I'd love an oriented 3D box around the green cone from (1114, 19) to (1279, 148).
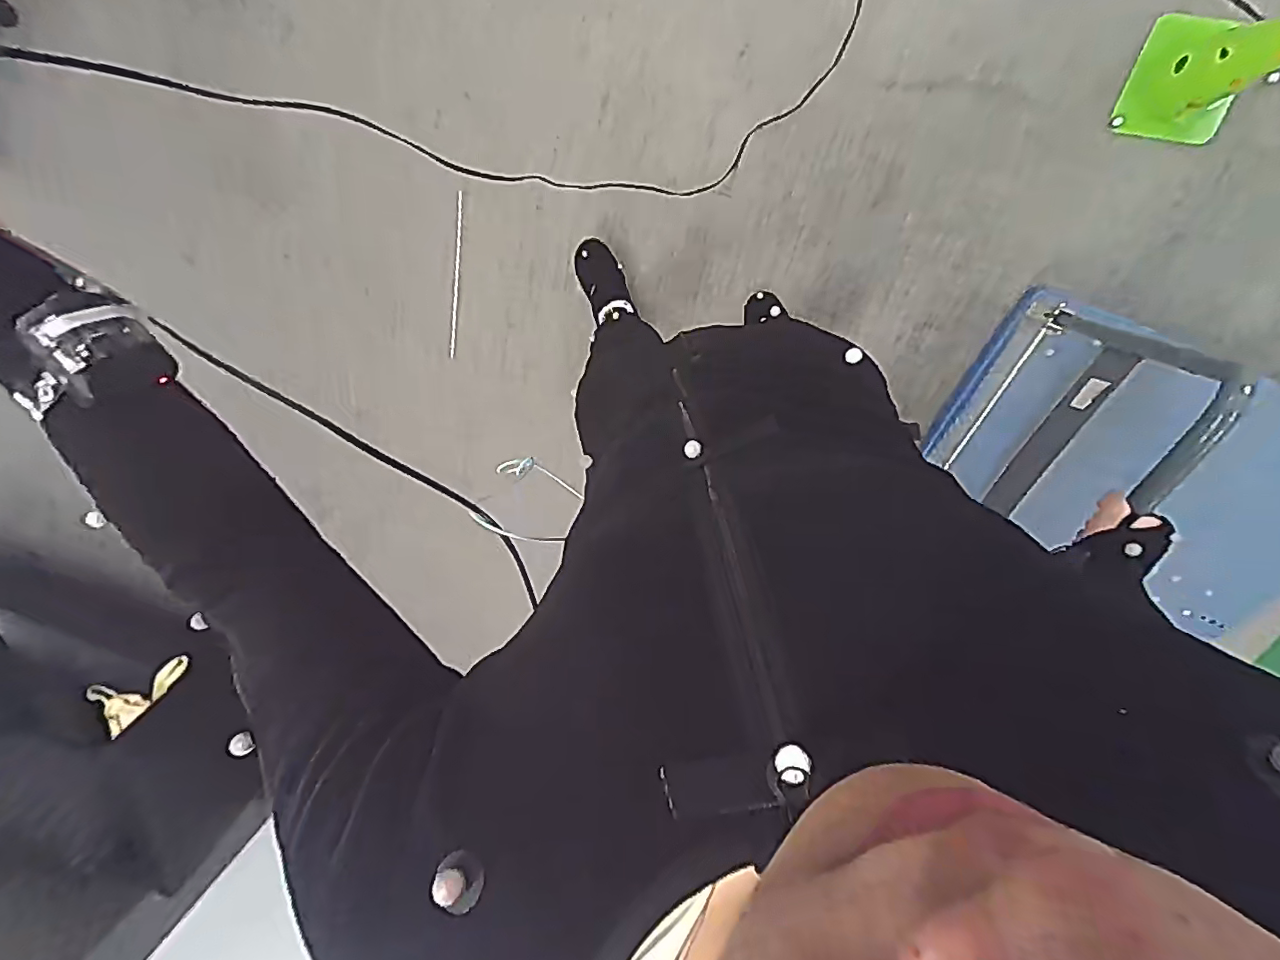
[{"bbox_3d":[1.057,-0.724,0.924,0.200,0.368,0.202,14,115,8],"label":"green cone"}]
